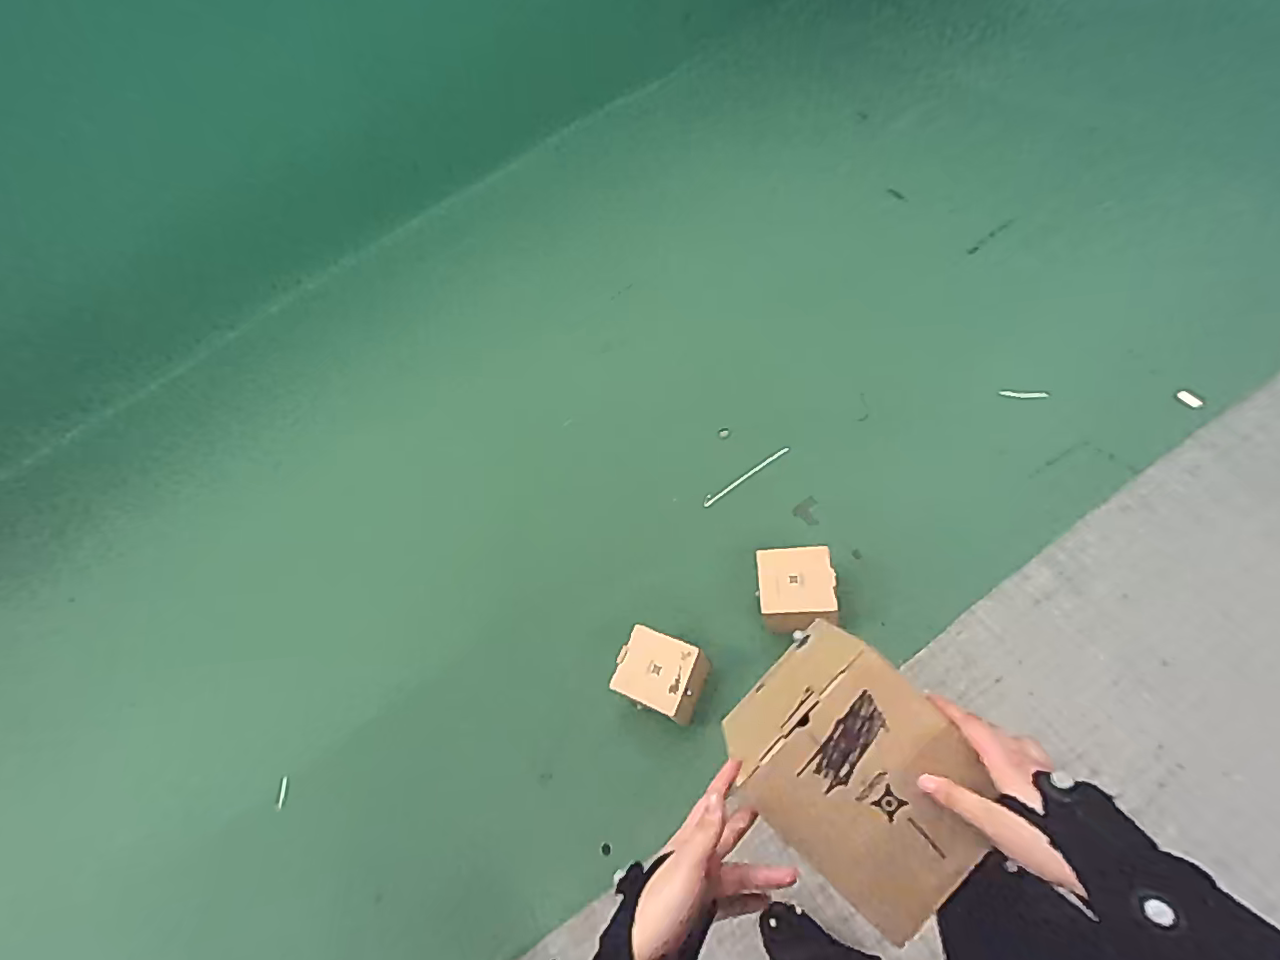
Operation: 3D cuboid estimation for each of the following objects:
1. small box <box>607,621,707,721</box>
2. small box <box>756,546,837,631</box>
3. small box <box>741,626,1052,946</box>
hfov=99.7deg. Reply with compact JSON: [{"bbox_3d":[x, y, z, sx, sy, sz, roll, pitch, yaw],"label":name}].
[{"bbox_3d":[0.049,0.477,1.340,0.179,0.176,0.168,16,65,25],"label":"small box"},{"bbox_3d":[0.390,0.277,1.360,0.179,0.176,0.168,-6,57,14],"label":"small box"},{"bbox_3d":[0.215,0.259,0.514,0.168,0.176,0.179,-45,83,-1],"label":"small box"}]
